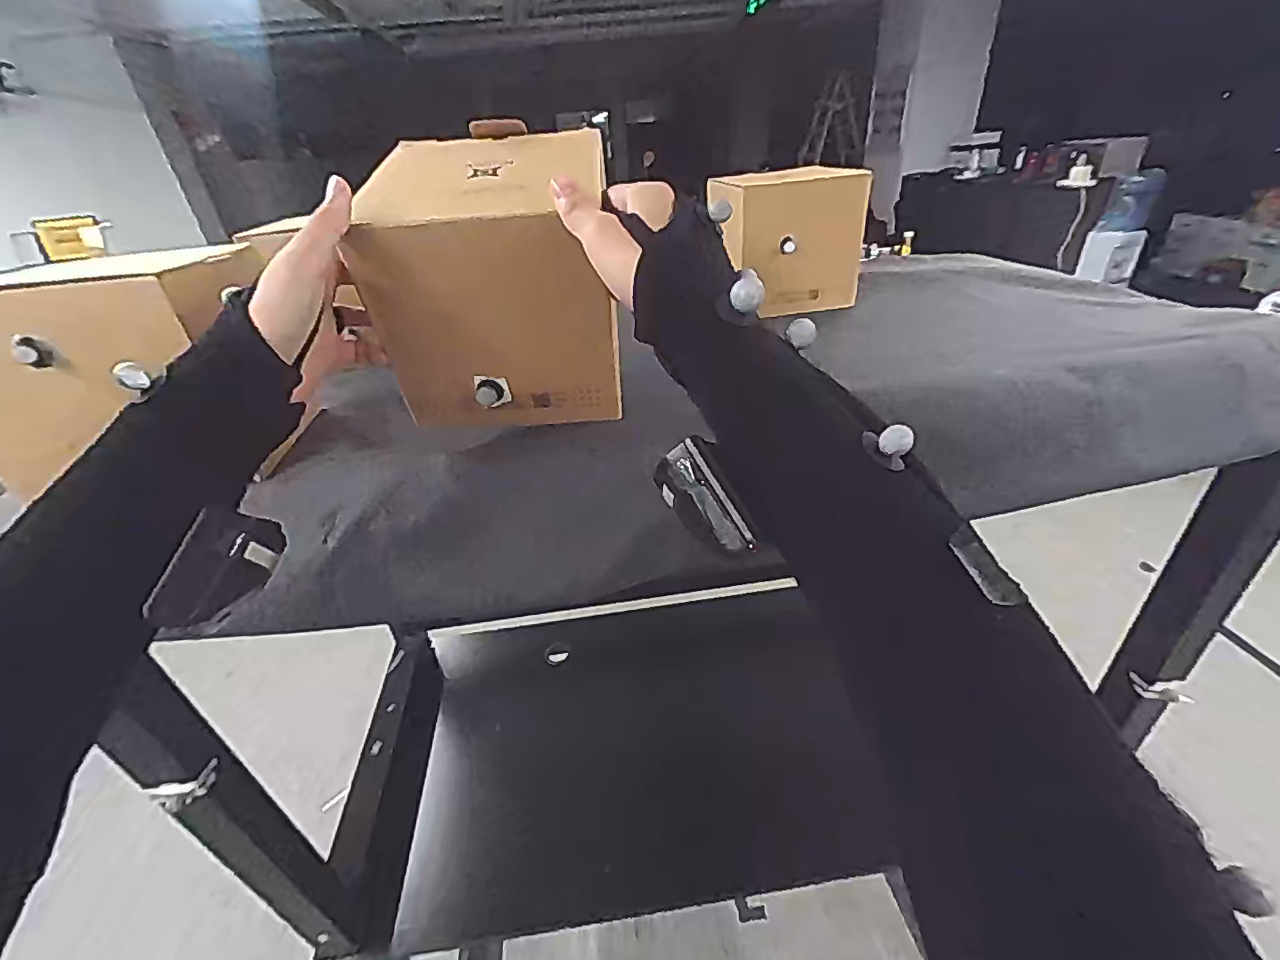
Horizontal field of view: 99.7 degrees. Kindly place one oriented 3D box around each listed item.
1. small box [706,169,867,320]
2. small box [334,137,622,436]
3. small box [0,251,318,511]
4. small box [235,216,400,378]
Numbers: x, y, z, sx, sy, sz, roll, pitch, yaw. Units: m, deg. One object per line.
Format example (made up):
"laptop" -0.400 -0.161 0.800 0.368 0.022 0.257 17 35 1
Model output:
"small box" 0.196 -0.332 0.766 0.168 0.176 0.179 -9 32 -4
"small box" -0.103 -0.156 0.437 0.168 0.176 0.179 -5 45 0
"small box" -0.419 -0.089 0.464 0.179 0.176 0.168 -9 31 -8
"small box" -0.372 -0.247 0.715 0.179 0.176 0.168 -8 32 -6
